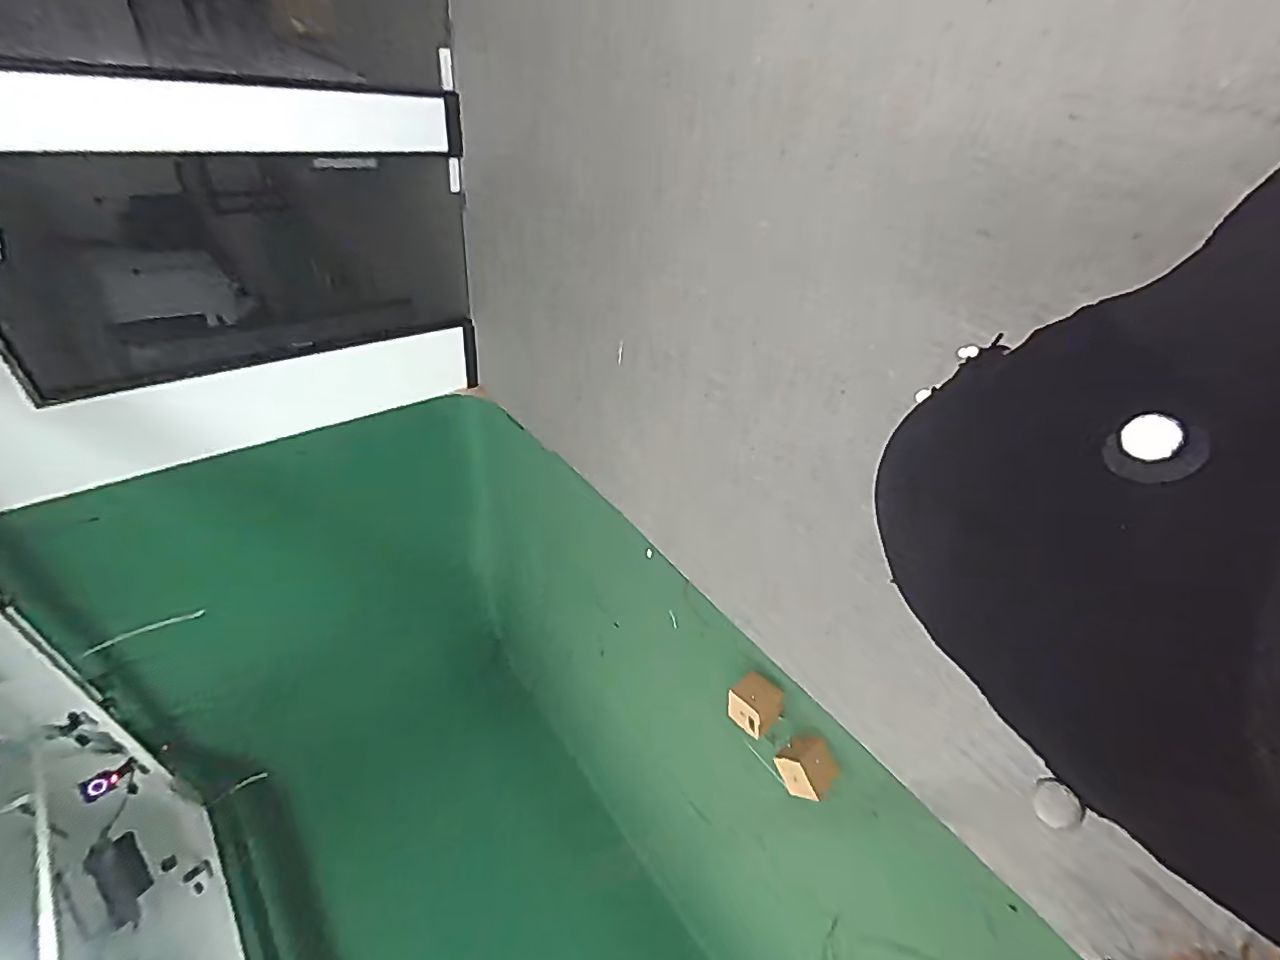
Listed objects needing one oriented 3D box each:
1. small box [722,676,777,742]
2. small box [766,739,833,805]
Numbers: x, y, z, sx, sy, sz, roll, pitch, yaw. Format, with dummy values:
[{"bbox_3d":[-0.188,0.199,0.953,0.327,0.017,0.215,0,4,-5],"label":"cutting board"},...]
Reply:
[{"bbox_3d":[0.484,1.004,2.392,0.179,0.176,0.168,27,129,43],"label":"small box"},{"bbox_3d":[0.671,1.215,2.269,0.168,0.176,0.179,-32,83,55],"label":"small box"}]
